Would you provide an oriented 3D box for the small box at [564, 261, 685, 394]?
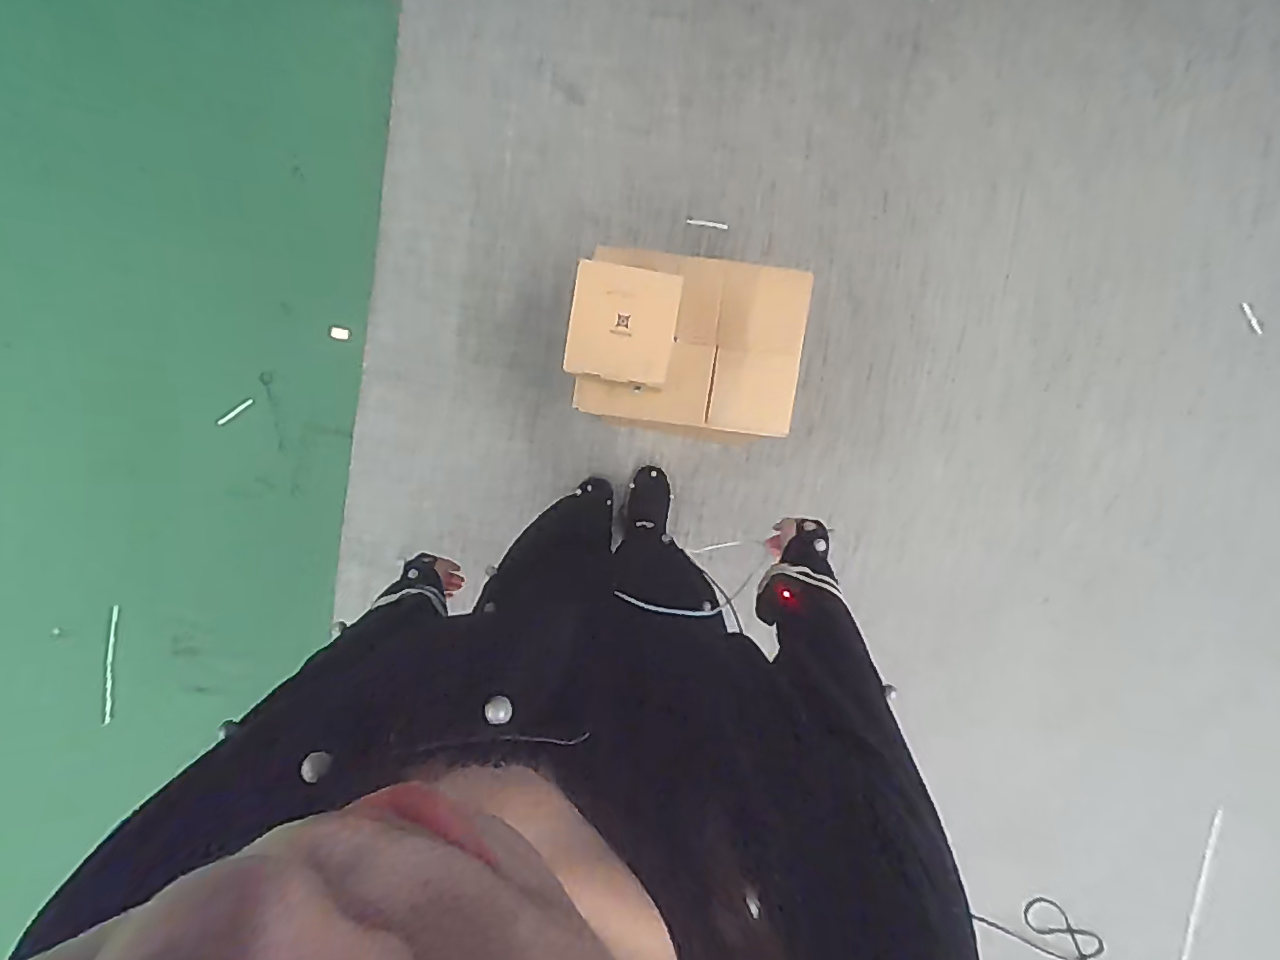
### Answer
[{"bbox_3d":[-0.023,-0.246,0.916,0.168,0.176,0.179,10,96,-1],"label":"small box"}]
